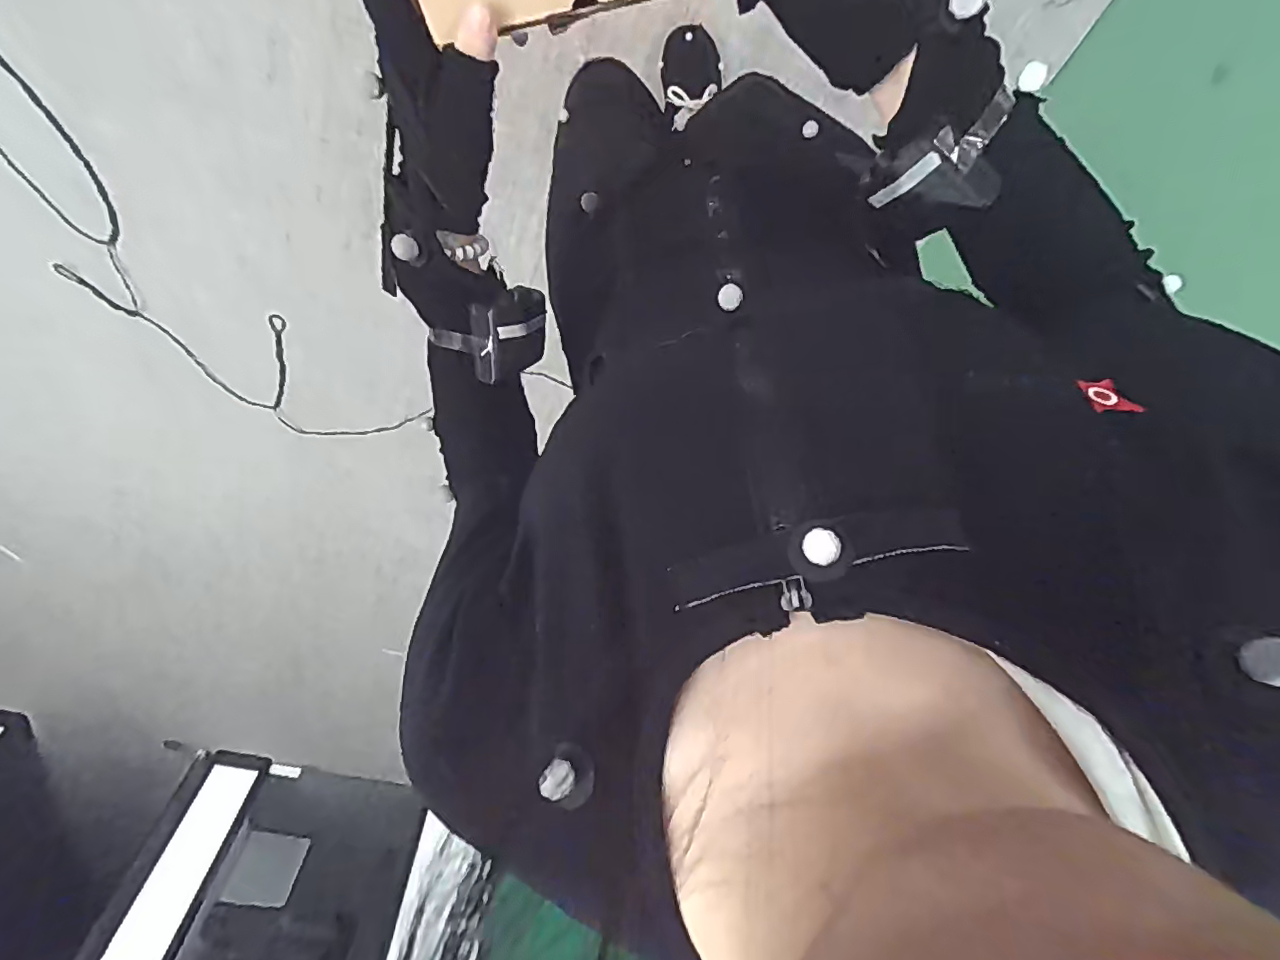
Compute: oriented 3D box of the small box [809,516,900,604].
[{"bbox_3d":[0.640,0.240,1.641,0.168,0.176,0.179,24,127,-18],"label":"small box"}]
